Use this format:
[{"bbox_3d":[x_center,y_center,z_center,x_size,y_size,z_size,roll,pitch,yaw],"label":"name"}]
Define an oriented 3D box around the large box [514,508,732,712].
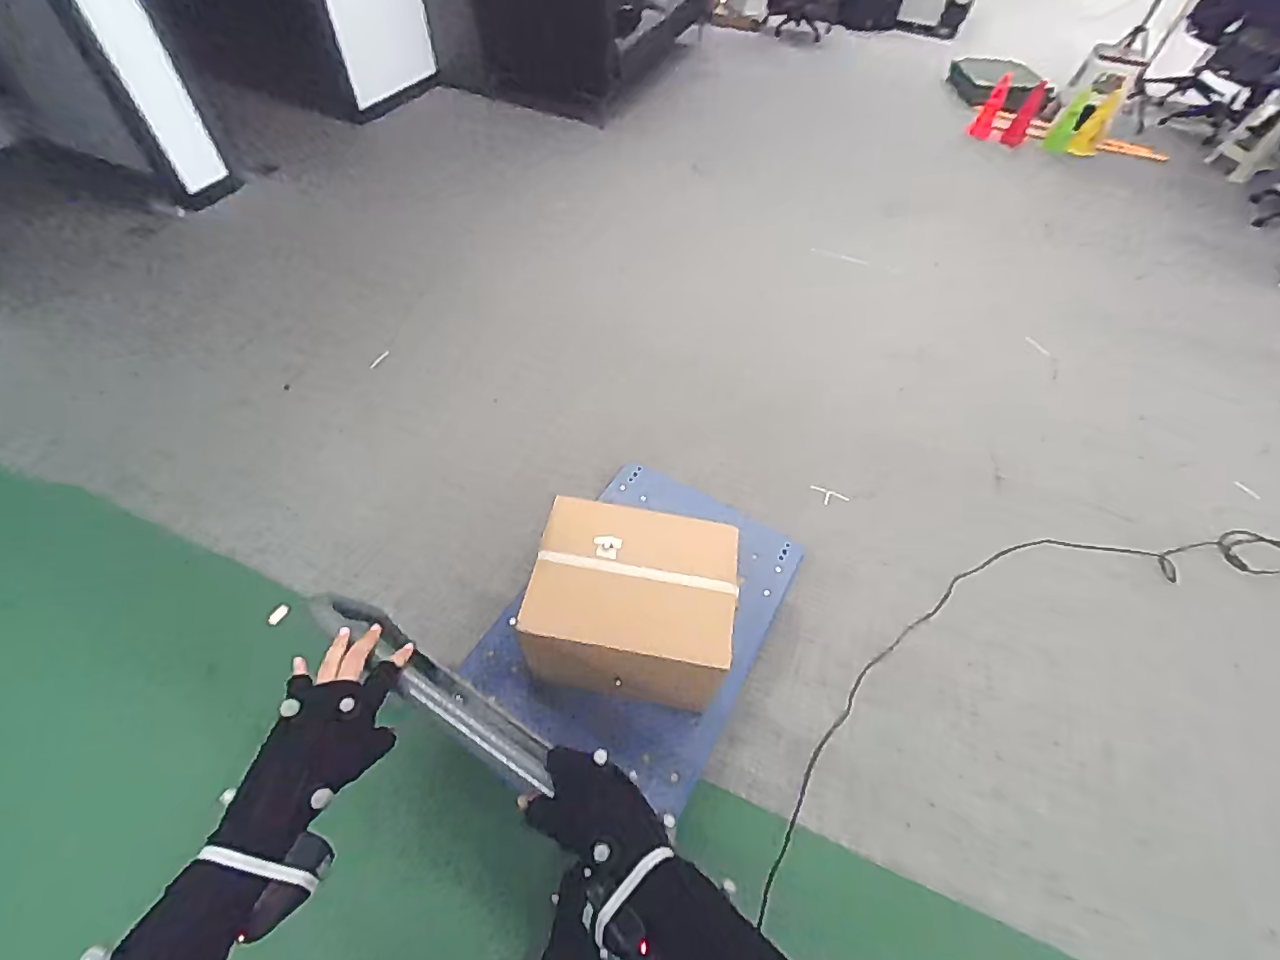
[{"bbox_3d":[-0.022,0.295,1.203,0.408,0.320,0.320,9,52,4],"label":"large box"}]
